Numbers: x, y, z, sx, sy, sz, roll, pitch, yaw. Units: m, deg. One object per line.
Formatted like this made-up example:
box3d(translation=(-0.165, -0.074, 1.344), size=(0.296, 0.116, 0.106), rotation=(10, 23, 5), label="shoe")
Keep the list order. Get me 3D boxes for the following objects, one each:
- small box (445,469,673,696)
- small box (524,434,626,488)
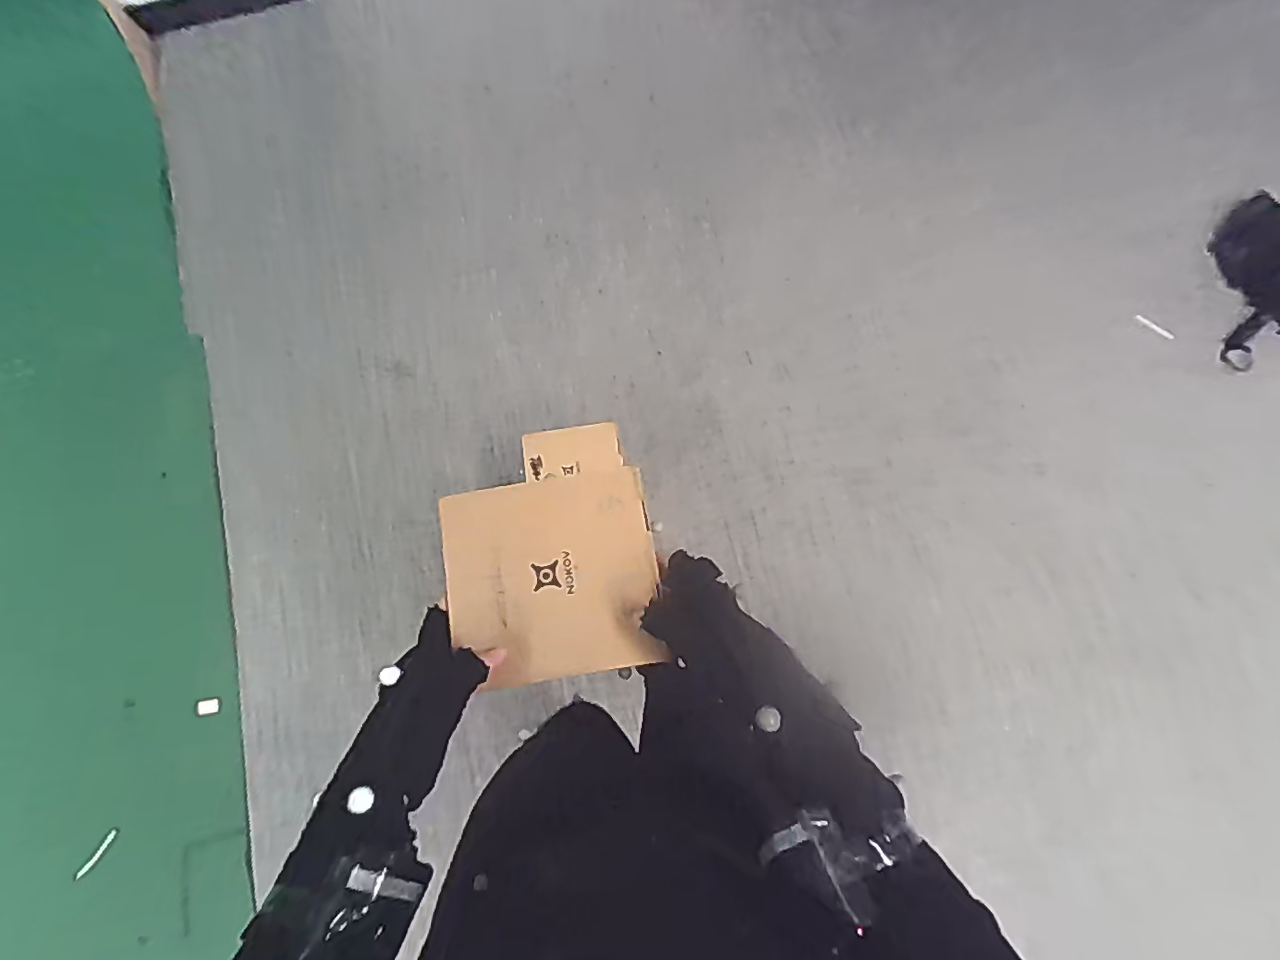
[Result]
box3d(translation=(-0.068, 0.102, 0.532), size=(0.179, 0.176, 0.168), rotation=(-12, 75, 1), label="small box")
box3d(translation=(-0.110, 0.017, 1.048), size=(0.179, 0.176, 0.168), rotation=(-10, 82, 2), label="small box")
